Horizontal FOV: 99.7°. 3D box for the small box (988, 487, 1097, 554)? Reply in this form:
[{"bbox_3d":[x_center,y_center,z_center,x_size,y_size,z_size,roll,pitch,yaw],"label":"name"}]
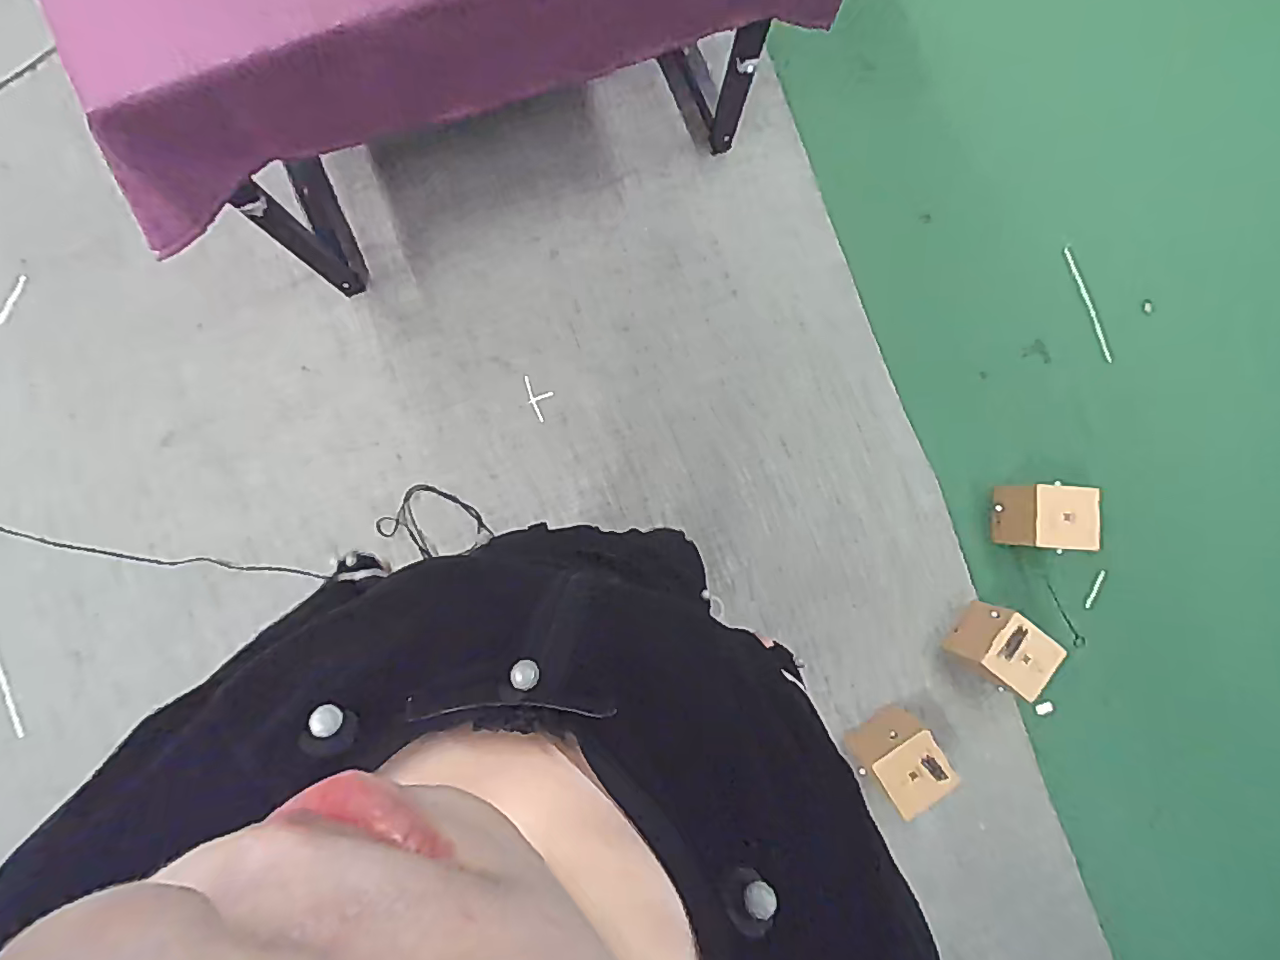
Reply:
[{"bbox_3d":[1.106,0.110,1.492,0.179,0.176,0.168,5,86,-3],"label":"small box"}]

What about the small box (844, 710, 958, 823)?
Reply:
[{"bbox_3d":[0.678,0.743,1.425,0.179,0.176,0.168,-32,89,-4],"label":"small box"}]
